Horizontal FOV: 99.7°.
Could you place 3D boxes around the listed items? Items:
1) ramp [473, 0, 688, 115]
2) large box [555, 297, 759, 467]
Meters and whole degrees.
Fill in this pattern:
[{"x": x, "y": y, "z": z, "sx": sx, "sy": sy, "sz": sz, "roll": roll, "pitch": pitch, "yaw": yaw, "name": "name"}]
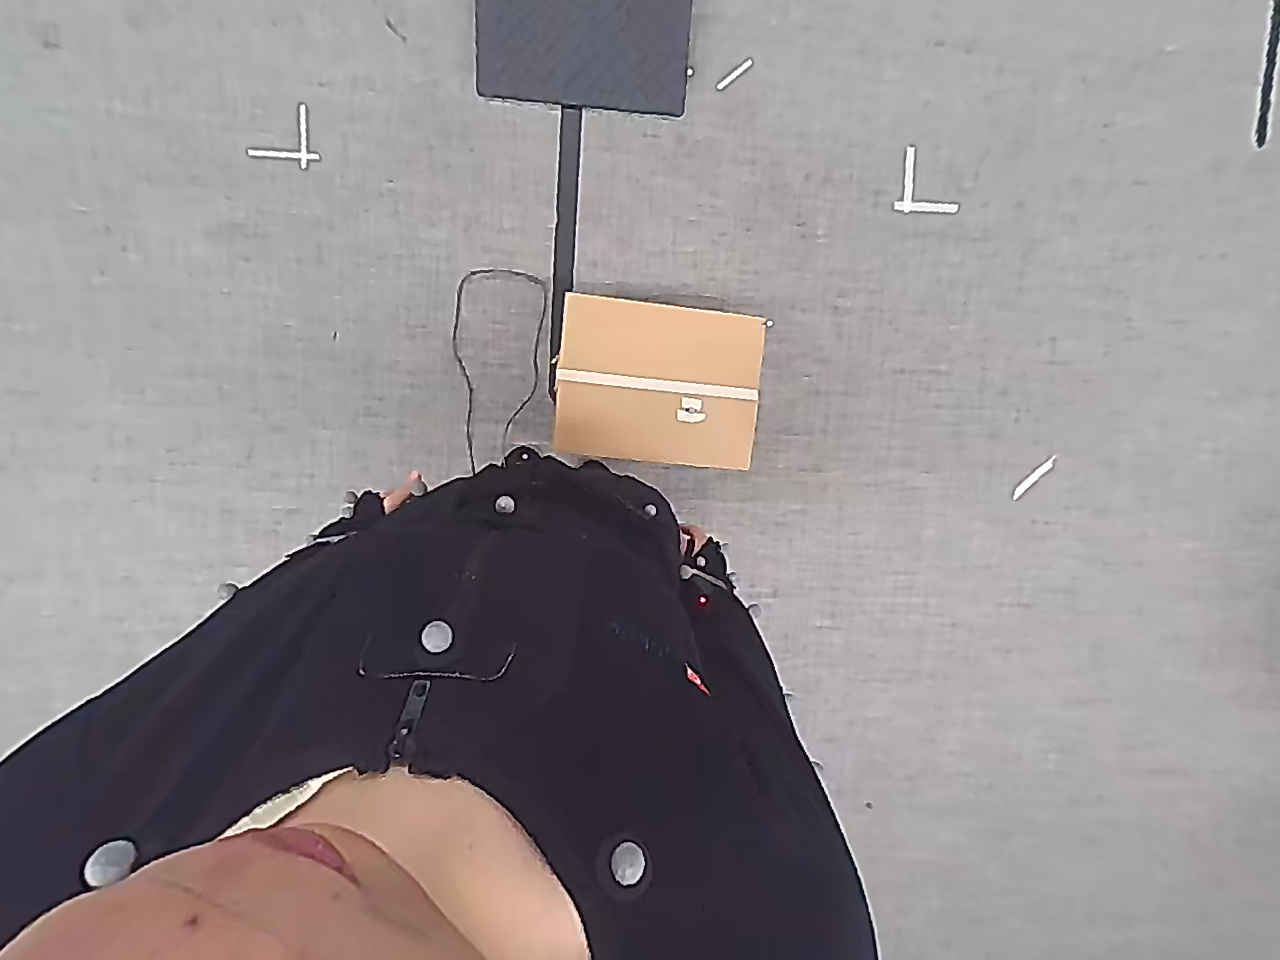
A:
[{"x": -0.113, "y": -1.371, "z": 1.151, "sx": 0.509, "sy": 0.206, "sz": 0.991, "roll": 0, "pitch": 97, "yaw": -7, "name": "ramp"}, {"x": 0.016, "y": -0.205, "z": 1.232, "sx": 0.408, "sy": 0.320, "sz": 0.320, "roll": 5, "pitch": 96, "yaw": -8, "name": "large box"}]
